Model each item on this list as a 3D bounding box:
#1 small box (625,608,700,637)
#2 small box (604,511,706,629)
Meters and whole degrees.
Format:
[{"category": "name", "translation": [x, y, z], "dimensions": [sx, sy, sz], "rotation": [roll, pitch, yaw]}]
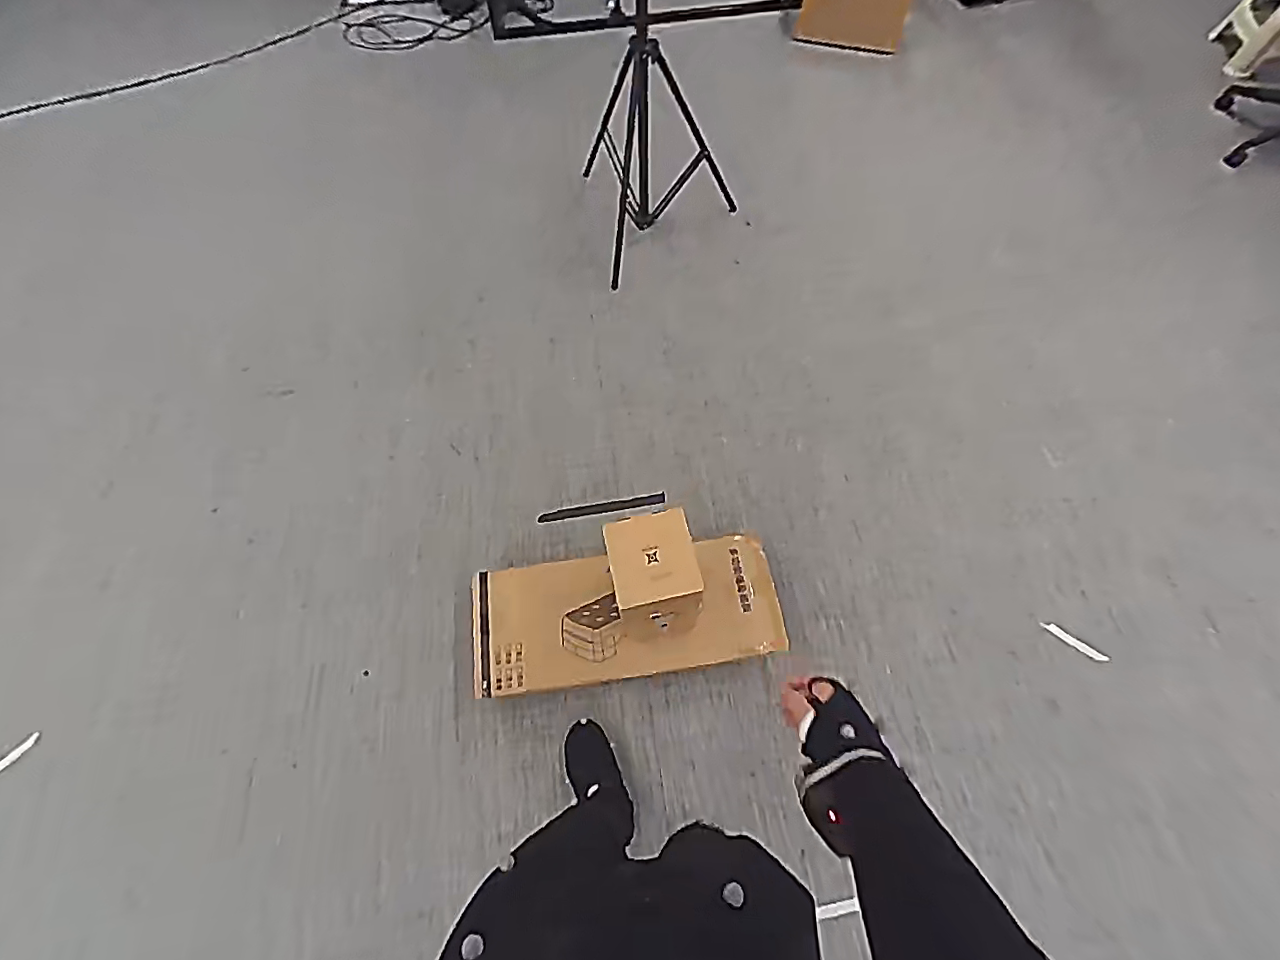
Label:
[{"category": "small box", "translation": [0.037, 0.258, 1.250], "dimensions": [0.168, 0.176, 0.179], "rotation": [-10, 65, -4]}, {"category": "small box", "translation": [0.026, 0.188, 1.103], "dimensions": [0.168, 0.176, 0.179], "rotation": [-13, 65, -4]}]
